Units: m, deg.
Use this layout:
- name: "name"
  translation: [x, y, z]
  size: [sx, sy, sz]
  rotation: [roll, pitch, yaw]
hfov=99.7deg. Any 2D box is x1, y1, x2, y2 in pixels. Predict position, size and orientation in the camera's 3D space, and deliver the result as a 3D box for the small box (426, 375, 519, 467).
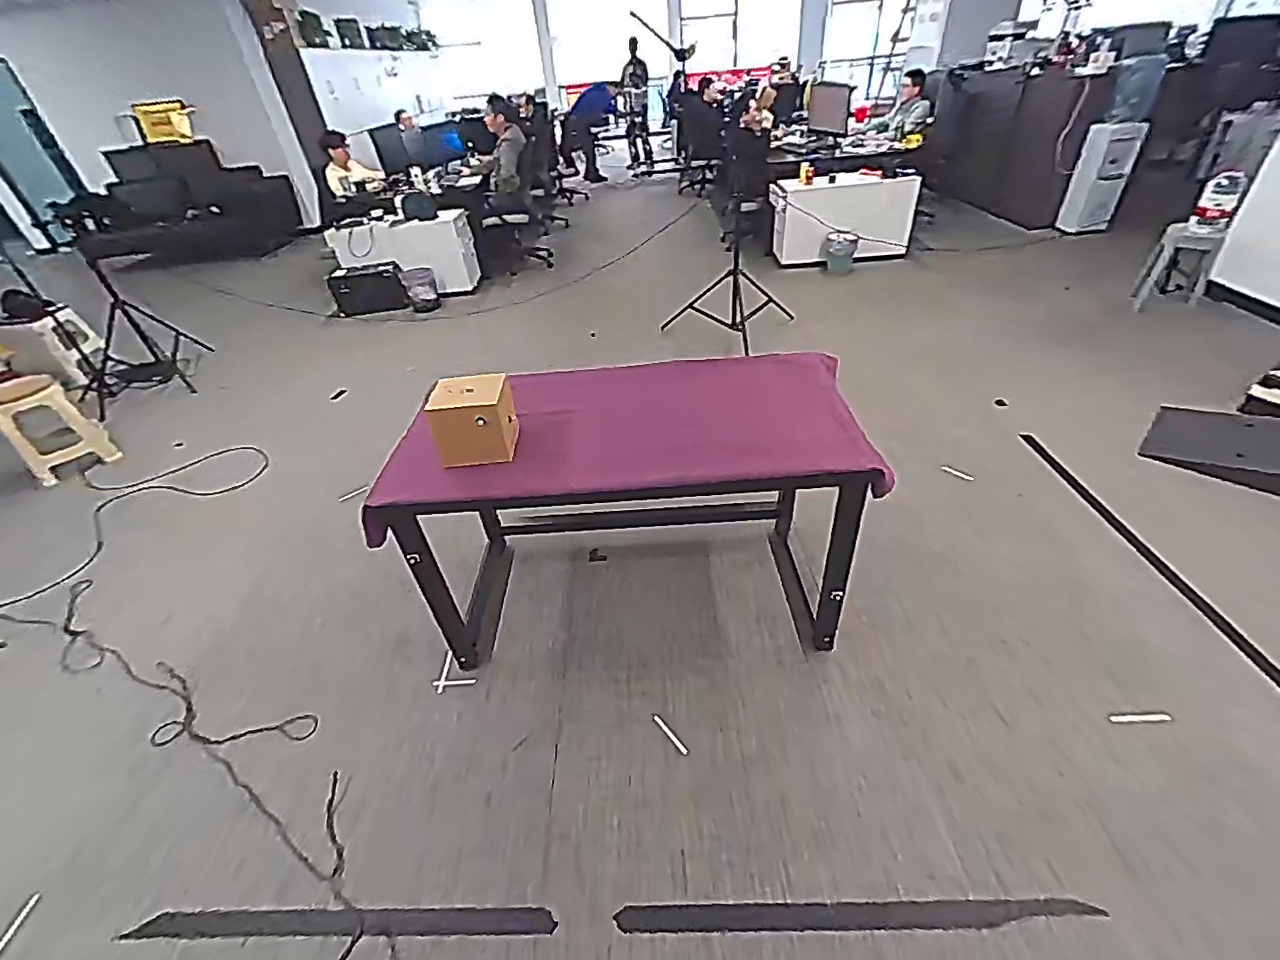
- name: "small box"
  translation: [-0.413, -0.148, 1.373]
  size: [0.179, 0.176, 0.168]
  rotation: [-6, 36, 0]
